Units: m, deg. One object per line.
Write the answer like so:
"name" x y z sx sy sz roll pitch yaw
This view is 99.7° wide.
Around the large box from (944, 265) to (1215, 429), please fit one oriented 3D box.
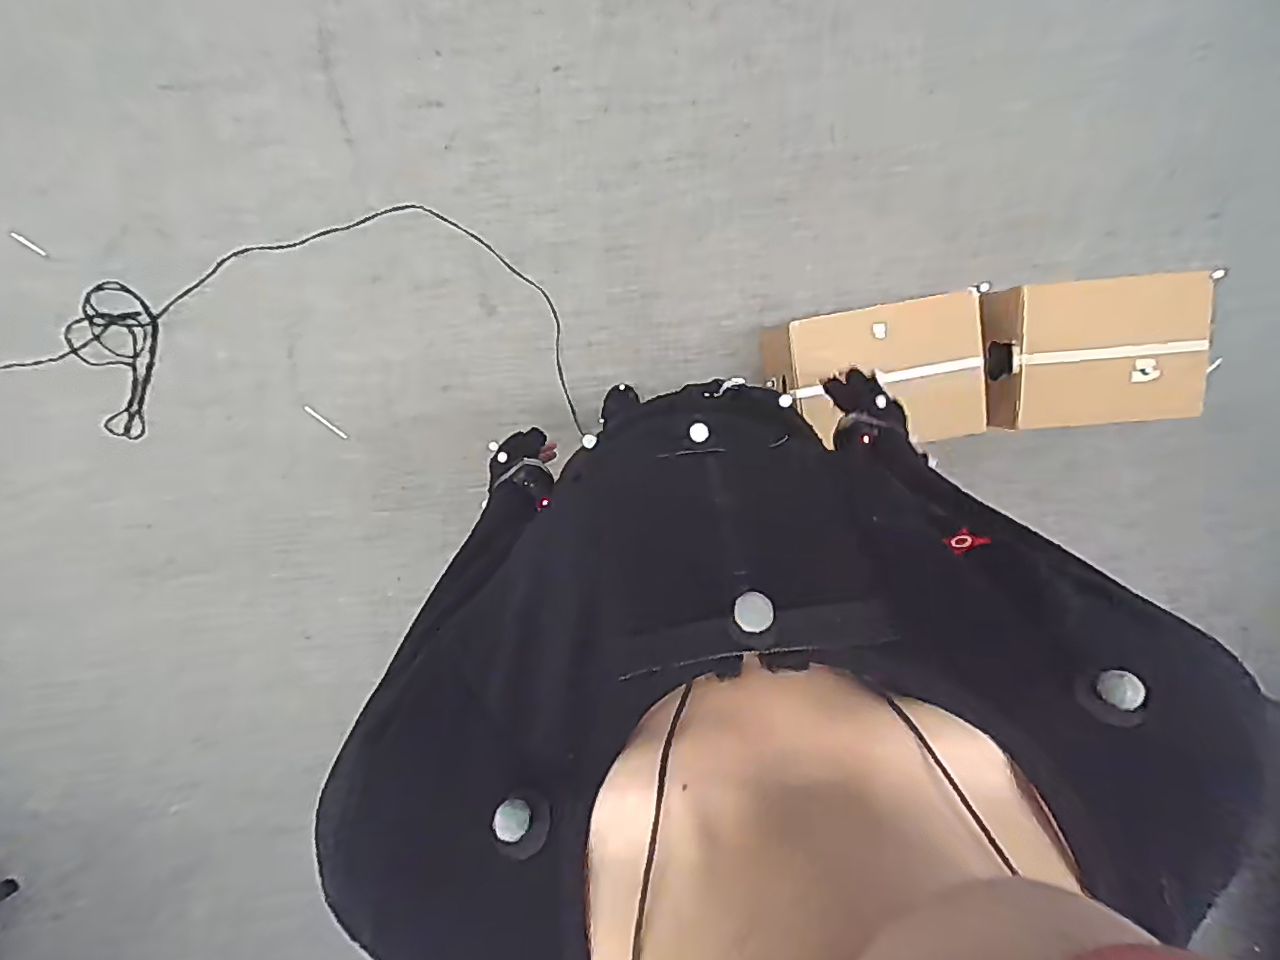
"large box" 1.010 -0.302 1.295 0.408 0.320 0.320 -4 99 0
